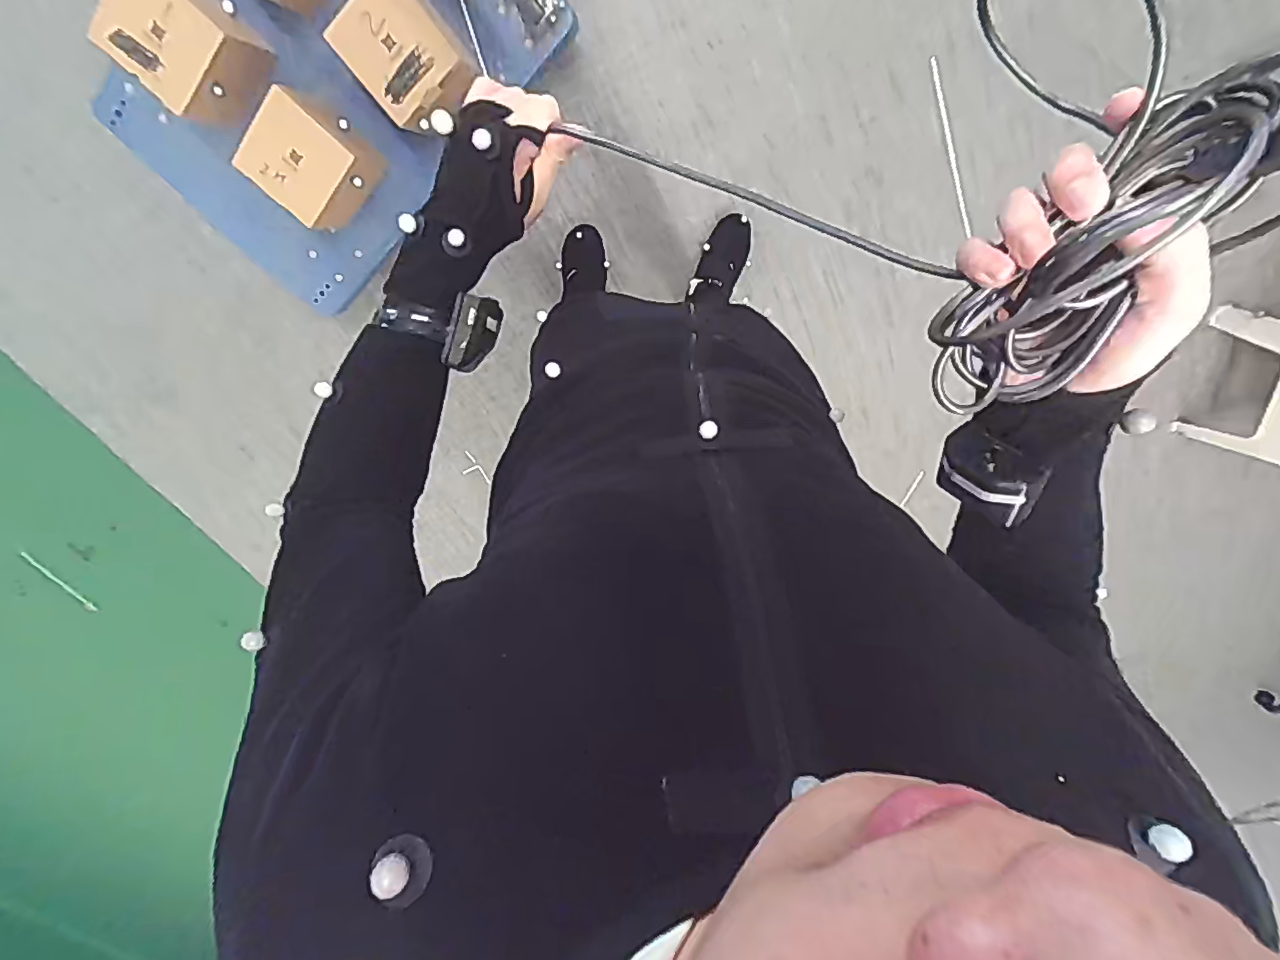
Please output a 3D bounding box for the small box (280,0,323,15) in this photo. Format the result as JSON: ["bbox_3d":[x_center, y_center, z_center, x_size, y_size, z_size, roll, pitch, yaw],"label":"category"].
[{"bbox_3d":[-0.621,-0.950,0.915,0.179,0.176,0.168,-37,113,18],"label":"small box"}]

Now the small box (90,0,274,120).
[{"bbox_3d":[-0.825,-0.801,0.994,0.179,0.176,0.168,-40,113,19],"label":"small box"}]

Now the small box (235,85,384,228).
[{"bbox_3d":[-0.647,-0.640,1.085,0.168,0.176,0.179,41,111,-19],"label":"small box"}]
